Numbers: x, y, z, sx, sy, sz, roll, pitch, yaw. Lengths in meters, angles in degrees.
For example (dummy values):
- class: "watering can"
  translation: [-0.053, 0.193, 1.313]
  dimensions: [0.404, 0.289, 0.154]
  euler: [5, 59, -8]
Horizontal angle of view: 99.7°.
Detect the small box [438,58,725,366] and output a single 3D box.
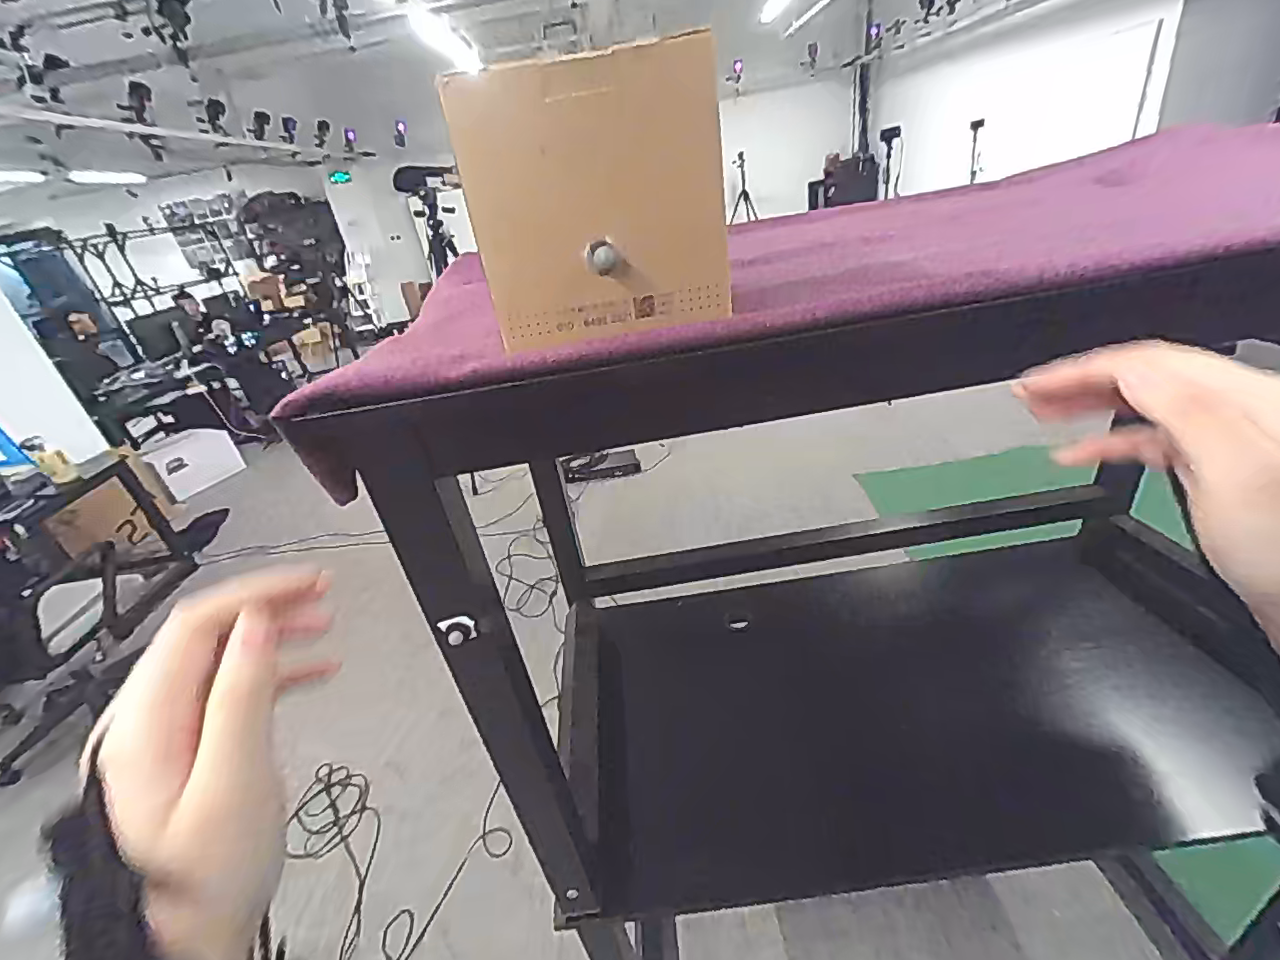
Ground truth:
- class: "small box"
  translation: [-0.032, -0.199, 0.426]
  dimensions: [0.168, 0.176, 0.179]
  euler: [-9, 28, 2]
